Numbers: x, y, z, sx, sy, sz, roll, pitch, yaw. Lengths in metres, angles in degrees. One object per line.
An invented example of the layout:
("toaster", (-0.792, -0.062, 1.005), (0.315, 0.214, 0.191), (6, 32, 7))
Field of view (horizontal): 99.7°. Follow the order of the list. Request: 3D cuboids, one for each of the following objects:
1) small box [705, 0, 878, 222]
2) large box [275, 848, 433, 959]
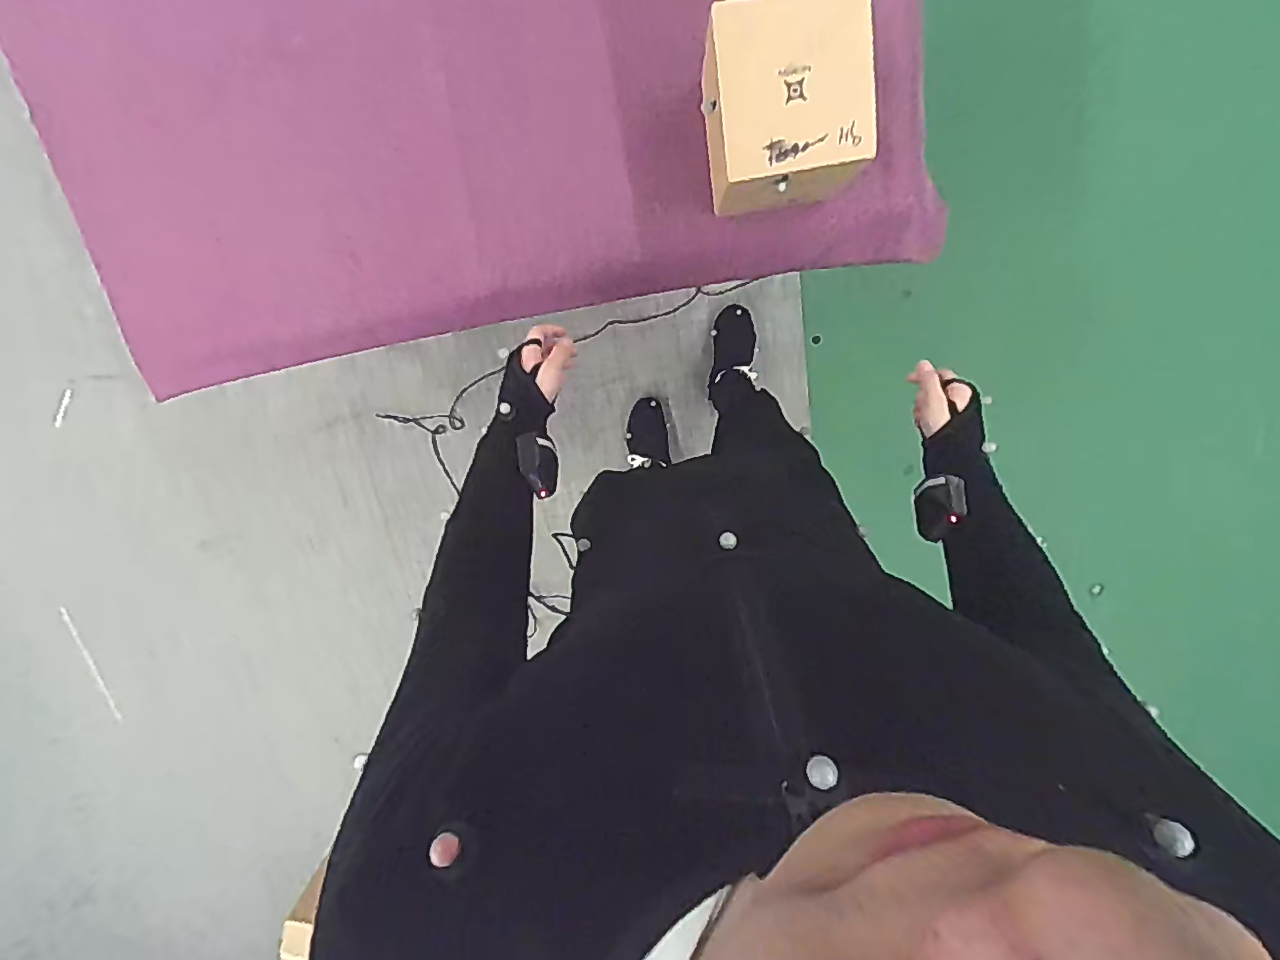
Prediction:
("small box", (0.174, -0.438, 0.659), (0.168, 0.176, 0.179), (-7, 102, 5))
("large box", (-1.010, 1.598, 1.928), (0.408, 0.320, 0.320), (14, 105, -3))
